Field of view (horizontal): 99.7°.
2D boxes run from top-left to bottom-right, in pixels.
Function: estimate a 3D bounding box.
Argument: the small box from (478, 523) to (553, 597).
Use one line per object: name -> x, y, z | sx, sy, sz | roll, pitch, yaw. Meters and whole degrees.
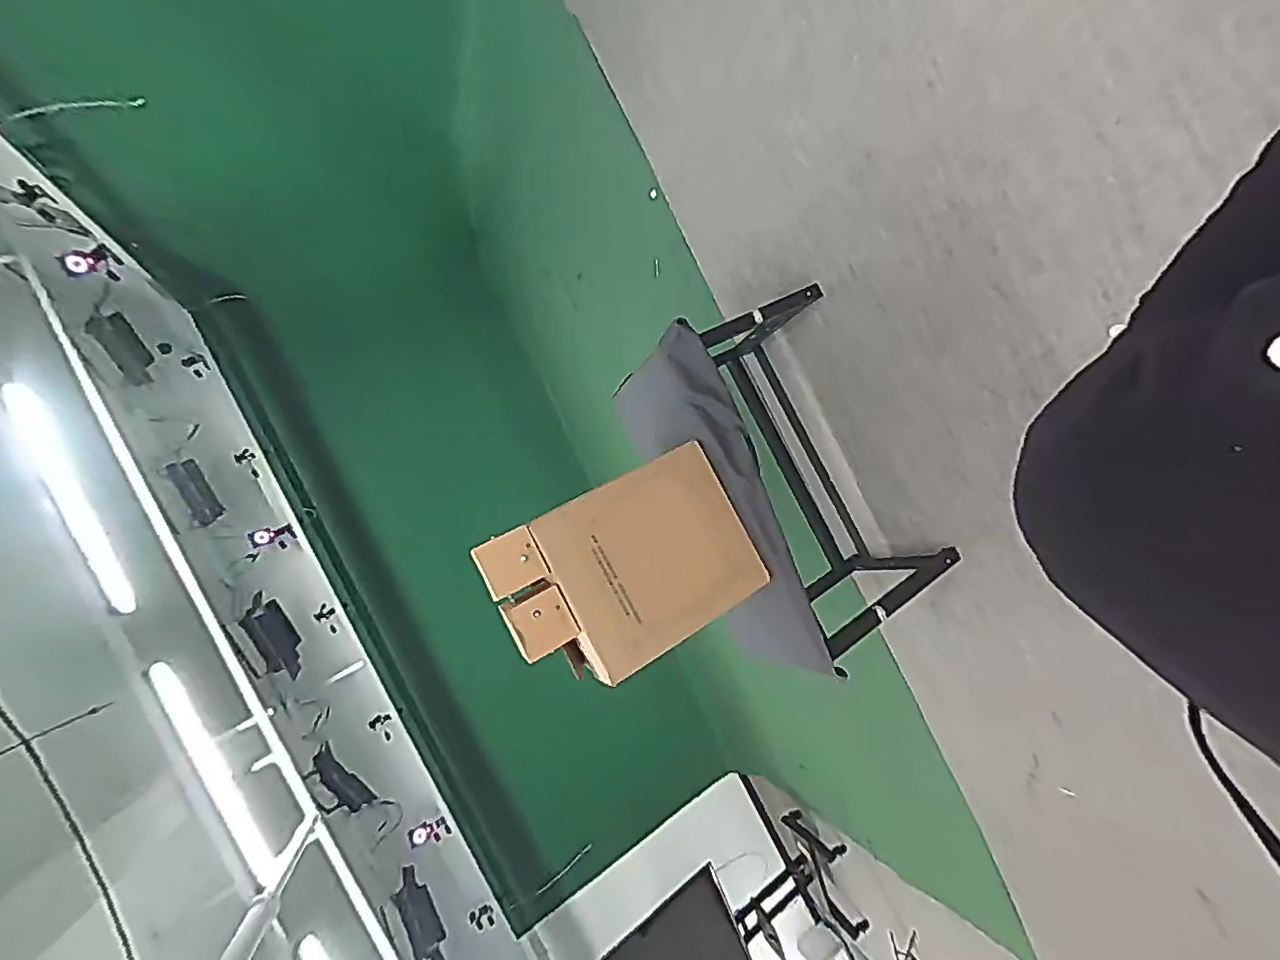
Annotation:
small box -> -0.380, 0.244, 1.650 | 0.168, 0.176, 0.179 | 63, 159, 2
